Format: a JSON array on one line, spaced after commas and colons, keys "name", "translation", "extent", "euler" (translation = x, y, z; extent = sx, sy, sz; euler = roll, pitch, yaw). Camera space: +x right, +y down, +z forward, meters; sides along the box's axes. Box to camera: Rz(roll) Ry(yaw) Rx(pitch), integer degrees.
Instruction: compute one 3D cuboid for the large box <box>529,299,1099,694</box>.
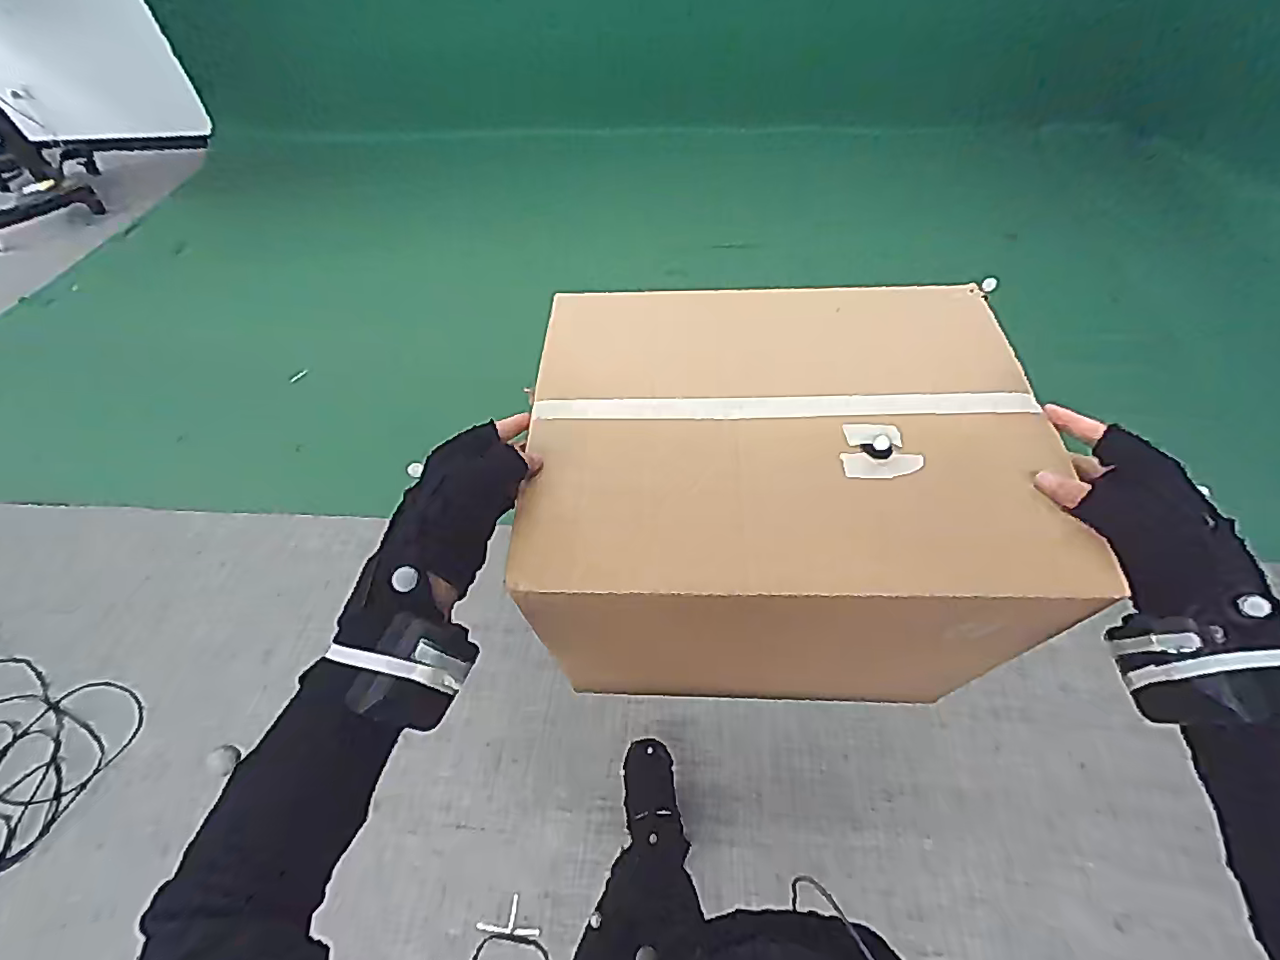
[{"name": "large box", "translation": [0.122, 0.033, 0.579], "extent": [0.408, 0.320, 0.320], "euler": [0, 57, 2]}]
